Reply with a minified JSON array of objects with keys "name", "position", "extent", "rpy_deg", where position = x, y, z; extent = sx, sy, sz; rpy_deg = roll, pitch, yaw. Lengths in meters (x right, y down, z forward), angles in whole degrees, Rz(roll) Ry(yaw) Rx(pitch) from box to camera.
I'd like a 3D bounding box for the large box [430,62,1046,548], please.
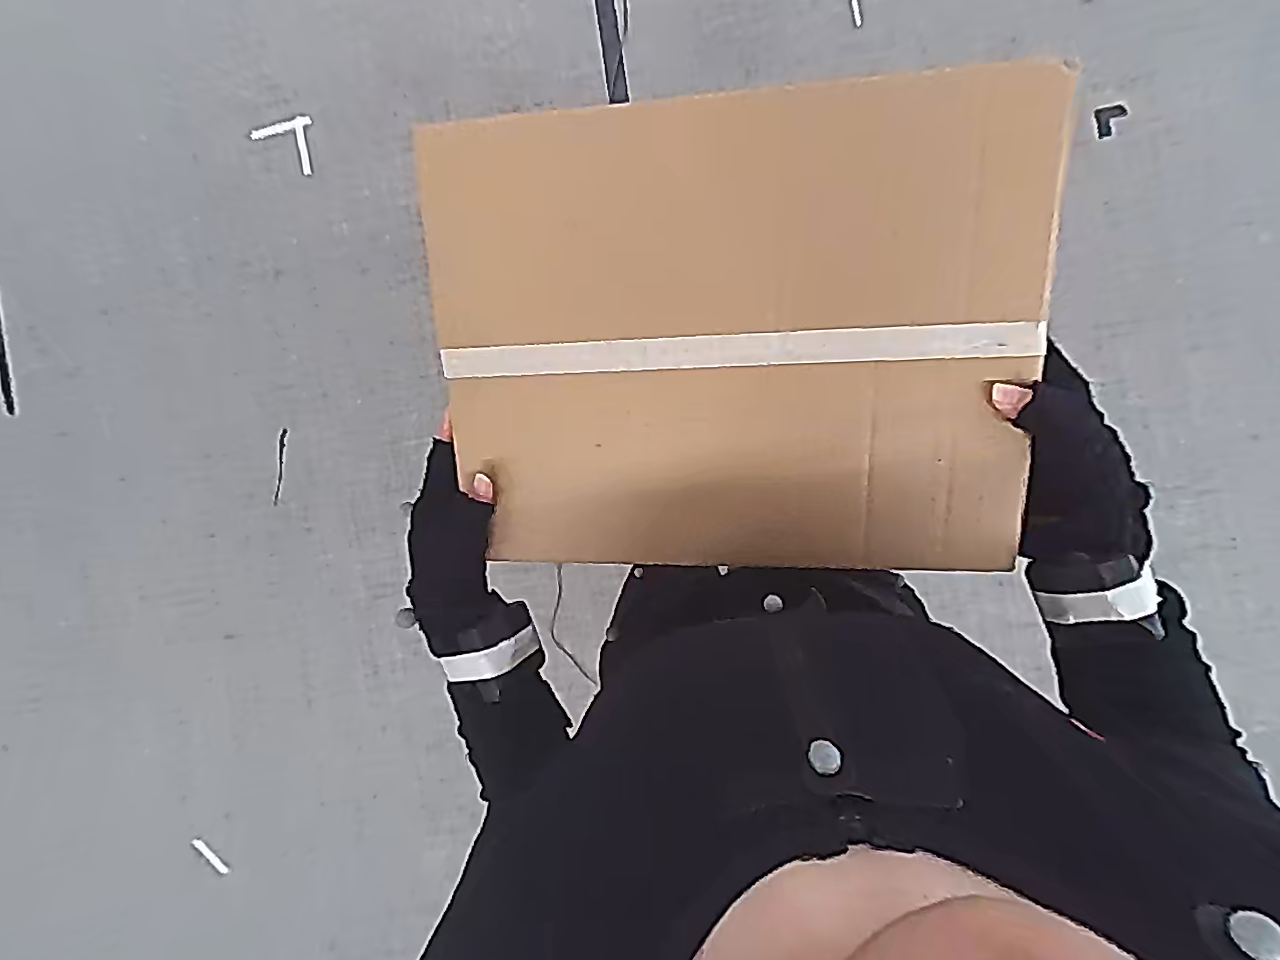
[{"name":"large box","position":[0.073,-0.132,0.528],"extent":[0.408,0.320,0.320],"rpy_deg":[0,105,9]}]
